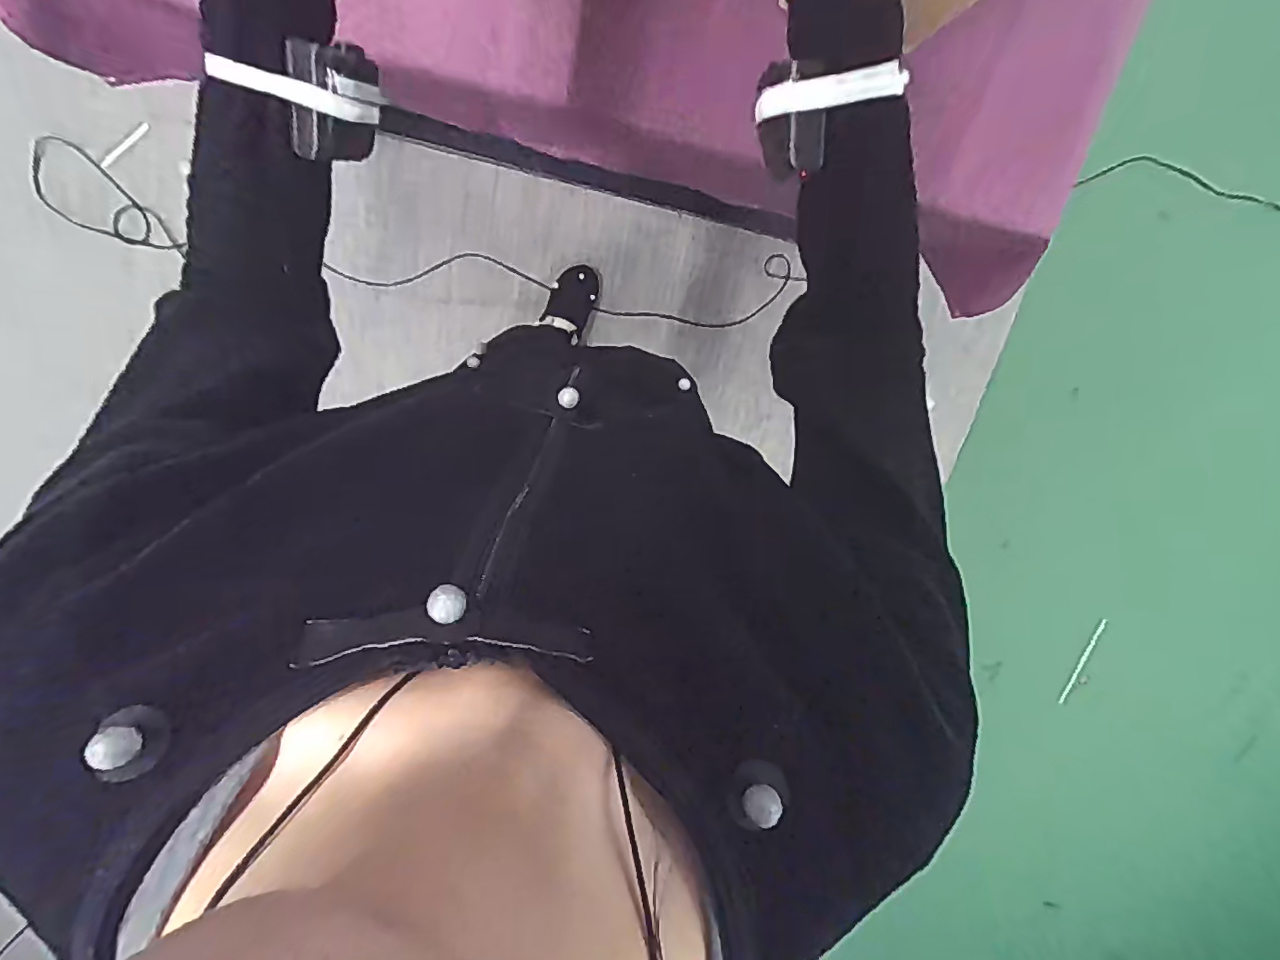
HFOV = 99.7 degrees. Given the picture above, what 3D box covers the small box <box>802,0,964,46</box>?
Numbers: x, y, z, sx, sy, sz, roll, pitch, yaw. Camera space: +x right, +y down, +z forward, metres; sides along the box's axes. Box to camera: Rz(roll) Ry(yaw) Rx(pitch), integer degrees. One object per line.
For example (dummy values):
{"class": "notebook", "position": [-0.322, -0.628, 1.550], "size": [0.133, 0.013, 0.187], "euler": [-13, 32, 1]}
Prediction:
{"class": "small box", "position": [0.266, -0.570, 0.522], "size": [0.168, 0.176, 0.179], "euler": [12, 107, -9]}
